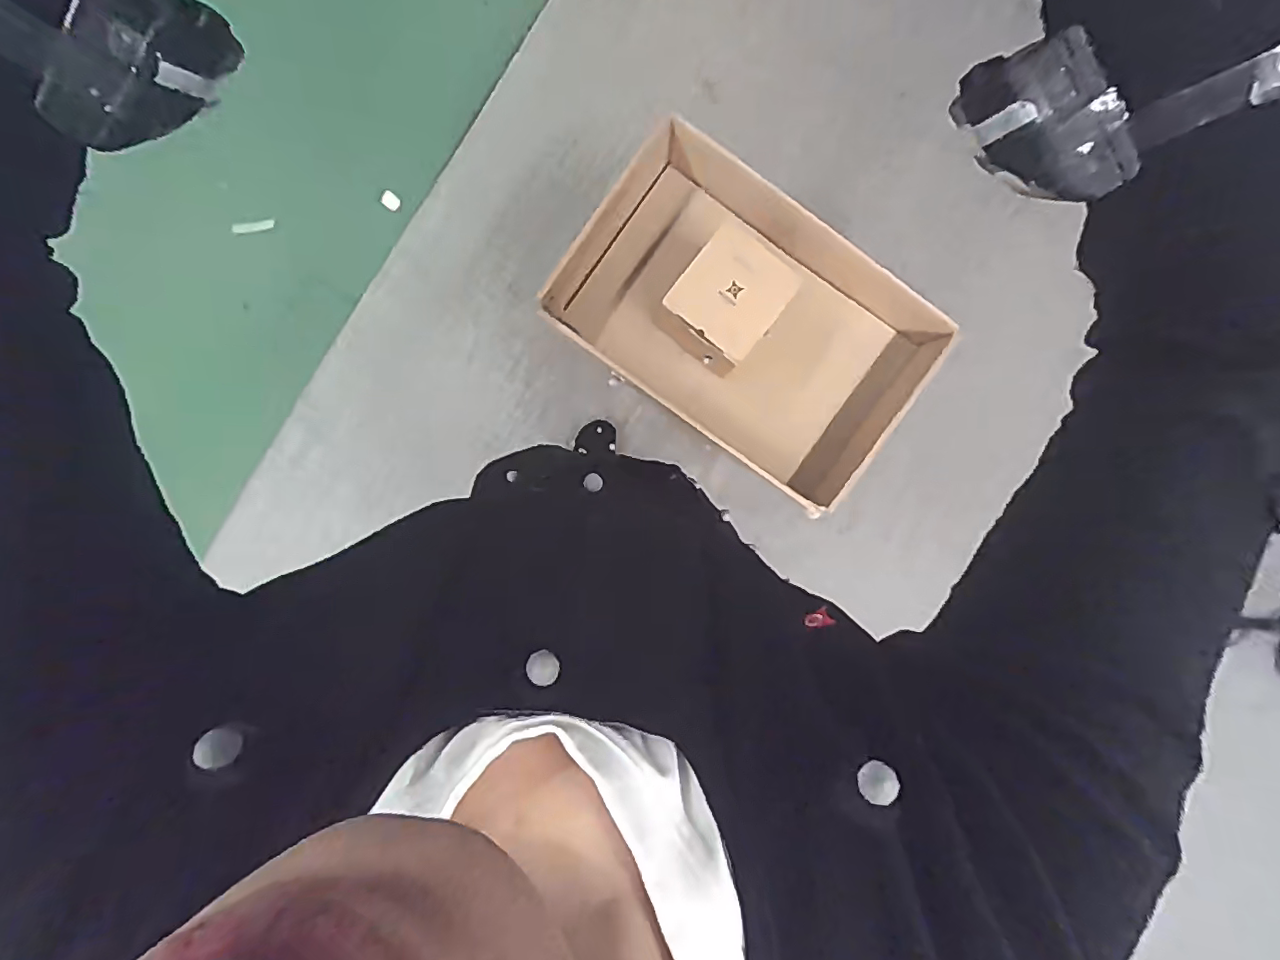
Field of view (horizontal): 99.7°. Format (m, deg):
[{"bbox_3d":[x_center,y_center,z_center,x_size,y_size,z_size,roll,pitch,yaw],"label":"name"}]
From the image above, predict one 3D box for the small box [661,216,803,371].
[{"bbox_3d":[0.149,-0.315,0.958,0.168,0.176,0.179,38,90,-4],"label":"small box"}]
